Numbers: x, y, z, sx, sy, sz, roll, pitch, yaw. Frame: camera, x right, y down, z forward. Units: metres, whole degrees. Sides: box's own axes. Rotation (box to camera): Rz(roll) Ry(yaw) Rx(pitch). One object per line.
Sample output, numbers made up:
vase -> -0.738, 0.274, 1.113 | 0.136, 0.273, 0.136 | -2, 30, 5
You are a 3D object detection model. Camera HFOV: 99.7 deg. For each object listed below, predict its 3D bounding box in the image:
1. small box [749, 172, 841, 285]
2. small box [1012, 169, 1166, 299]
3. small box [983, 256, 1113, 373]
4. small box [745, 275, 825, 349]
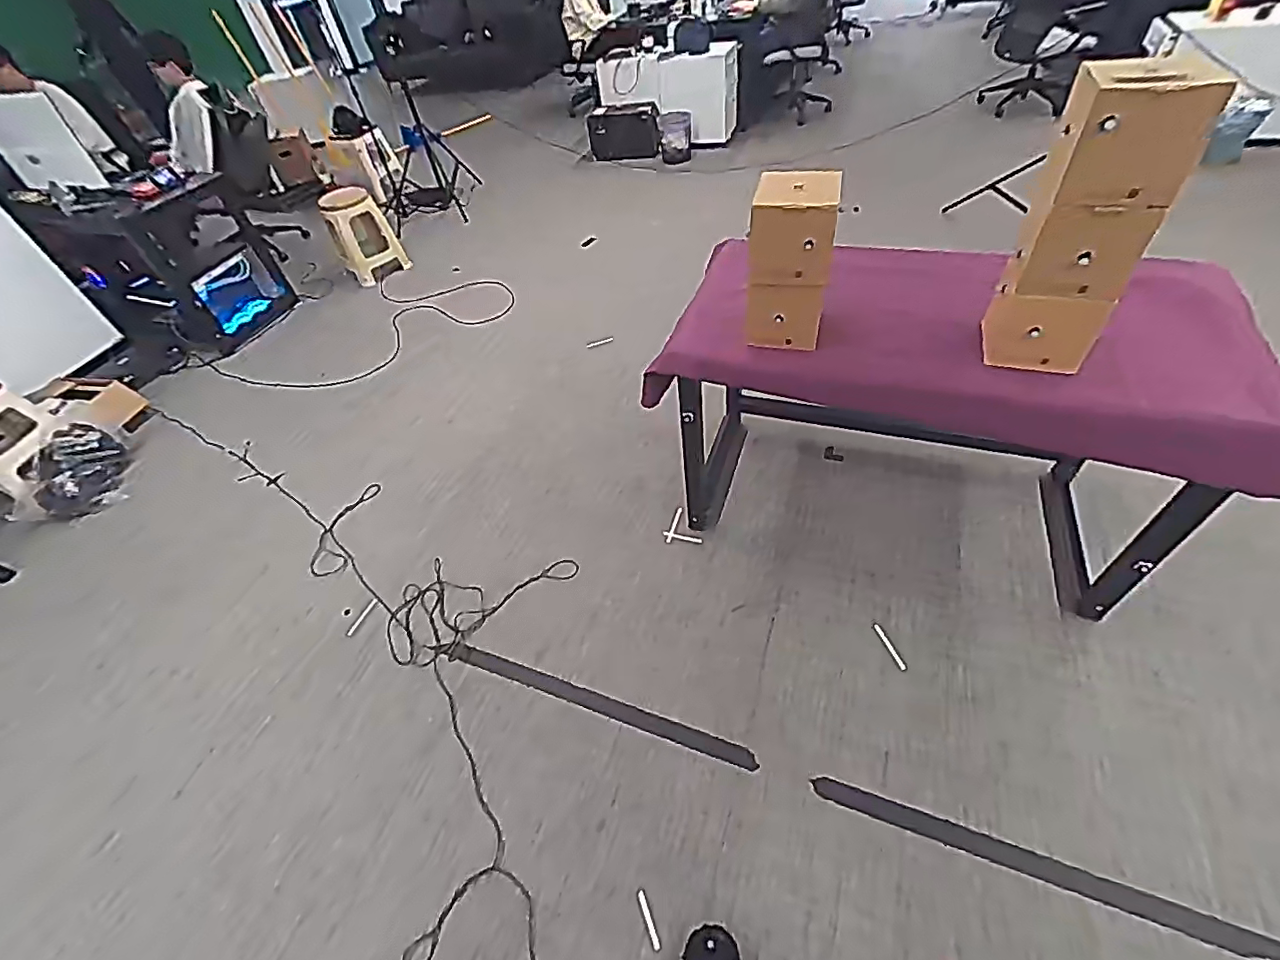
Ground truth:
small box -> 0.325, -0.530, 1.145 | 0.168, 0.176, 0.179 | 8, 49, 14
small box -> 0.818, -0.457, 1.008 | 0.168, 0.176, 0.179 | 12, 51, 19
small box -> 0.835, -0.344, 1.126 | 0.168, 0.176, 0.179 | 11, 50, 19
small box -> 0.343, -0.427, 1.270 | 0.168, 0.176, 0.179 | 9, 49, 15
